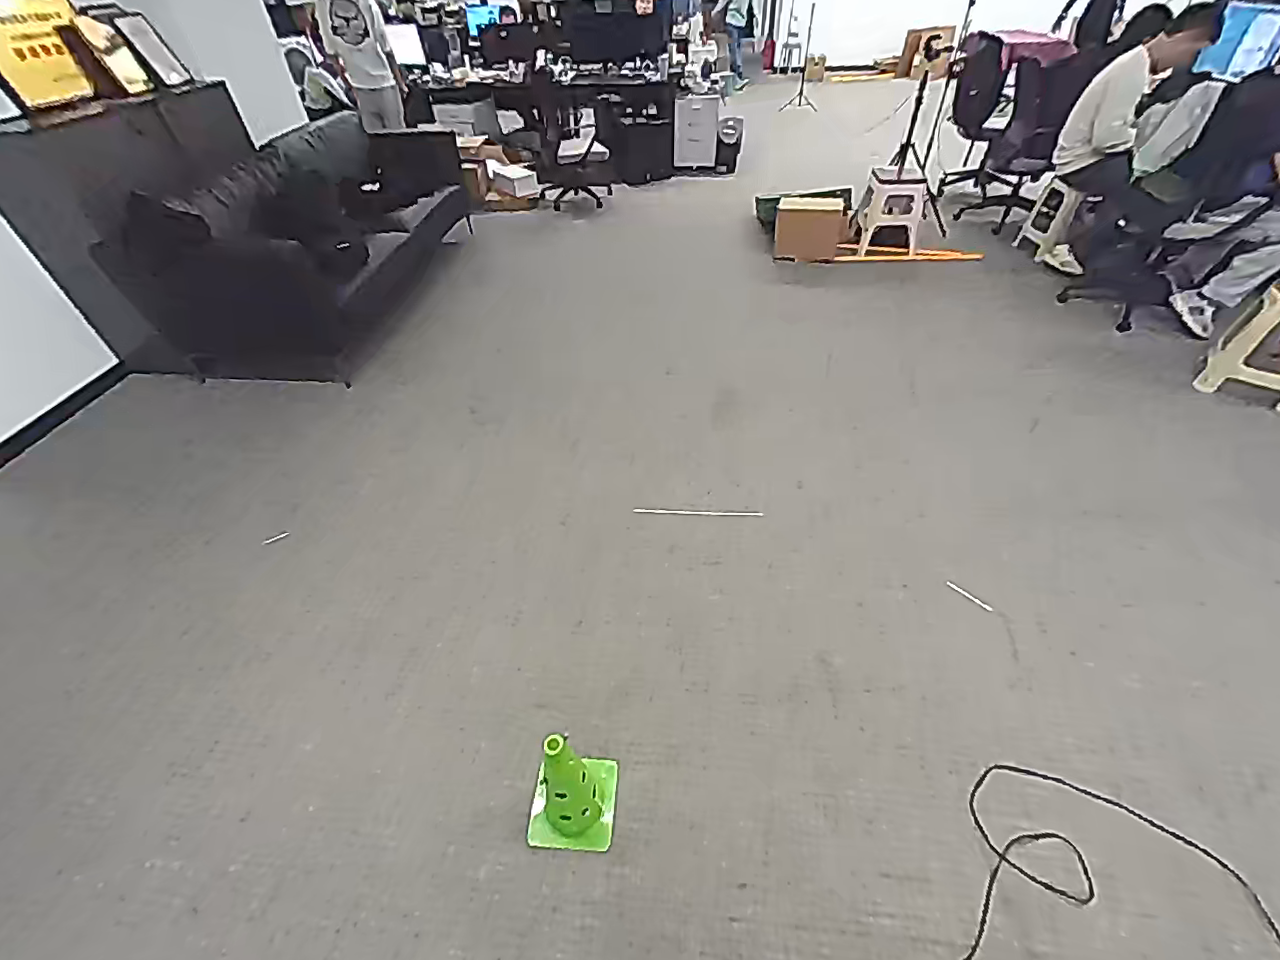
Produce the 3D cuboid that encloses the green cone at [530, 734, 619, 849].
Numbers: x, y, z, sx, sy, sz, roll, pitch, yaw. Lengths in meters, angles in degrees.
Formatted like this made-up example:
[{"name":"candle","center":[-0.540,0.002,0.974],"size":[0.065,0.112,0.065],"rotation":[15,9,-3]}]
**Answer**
[{"name":"green cone","center":[-0.162,0.662,1.209],"size":[0.202,0.368,0.200],"rotation":[2,44,4]}]
